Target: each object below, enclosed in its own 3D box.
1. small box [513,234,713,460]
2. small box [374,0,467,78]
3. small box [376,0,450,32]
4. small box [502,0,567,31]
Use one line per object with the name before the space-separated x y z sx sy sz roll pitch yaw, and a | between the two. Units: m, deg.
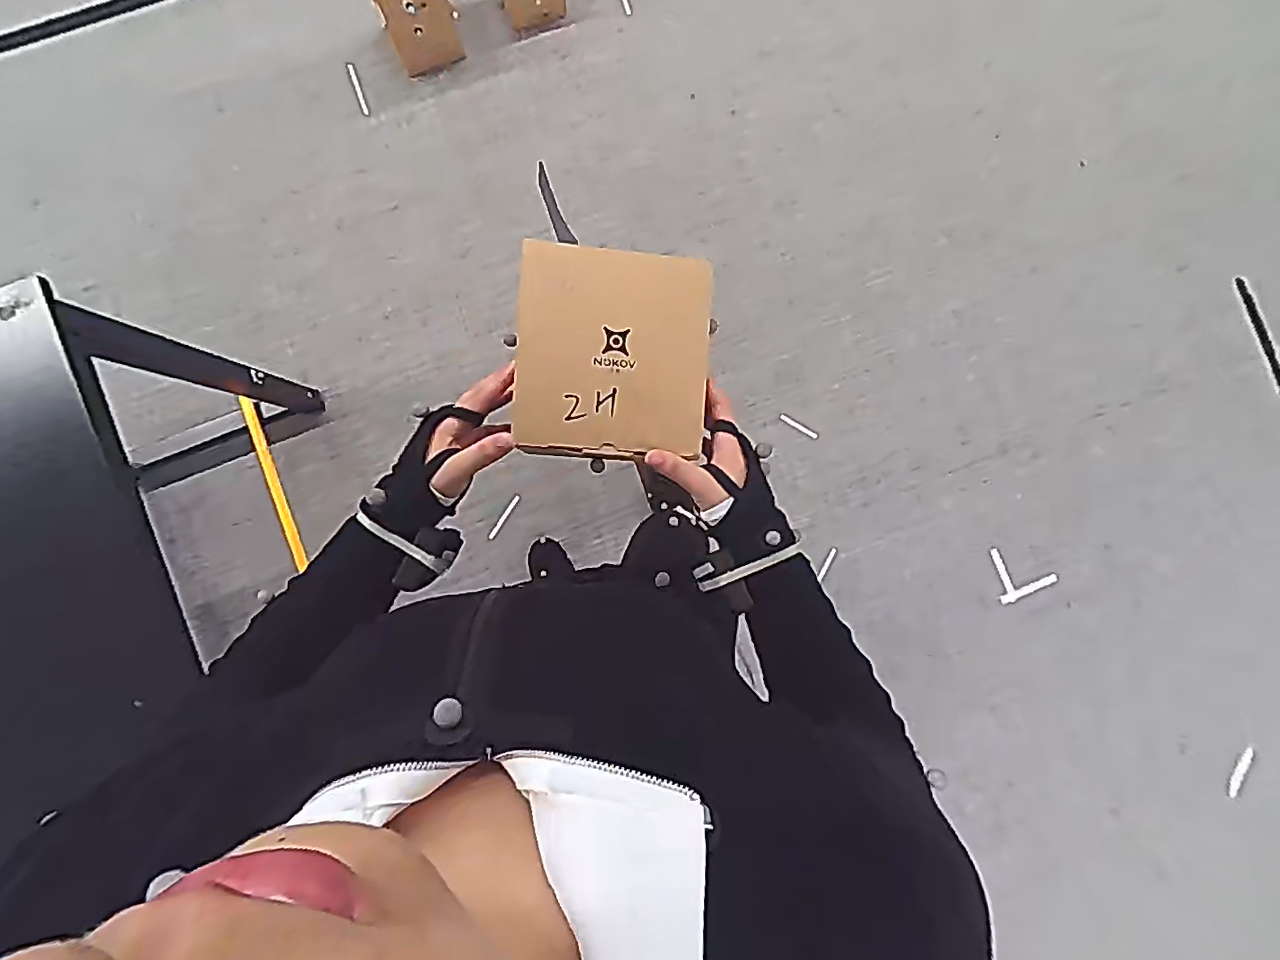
small box | -0.032 -0.116 0.542 0.168 0.176 0.179 3 90 -7
small box | -0.593 -1.236 1.455 0.179 0.176 0.168 -22 89 -3
small box | -0.583 -1.241 1.293 0.168 0.176 0.179 -24 90 -1
small box | -0.306 -1.379 1.473 0.168 0.176 0.179 -20 89 -3
